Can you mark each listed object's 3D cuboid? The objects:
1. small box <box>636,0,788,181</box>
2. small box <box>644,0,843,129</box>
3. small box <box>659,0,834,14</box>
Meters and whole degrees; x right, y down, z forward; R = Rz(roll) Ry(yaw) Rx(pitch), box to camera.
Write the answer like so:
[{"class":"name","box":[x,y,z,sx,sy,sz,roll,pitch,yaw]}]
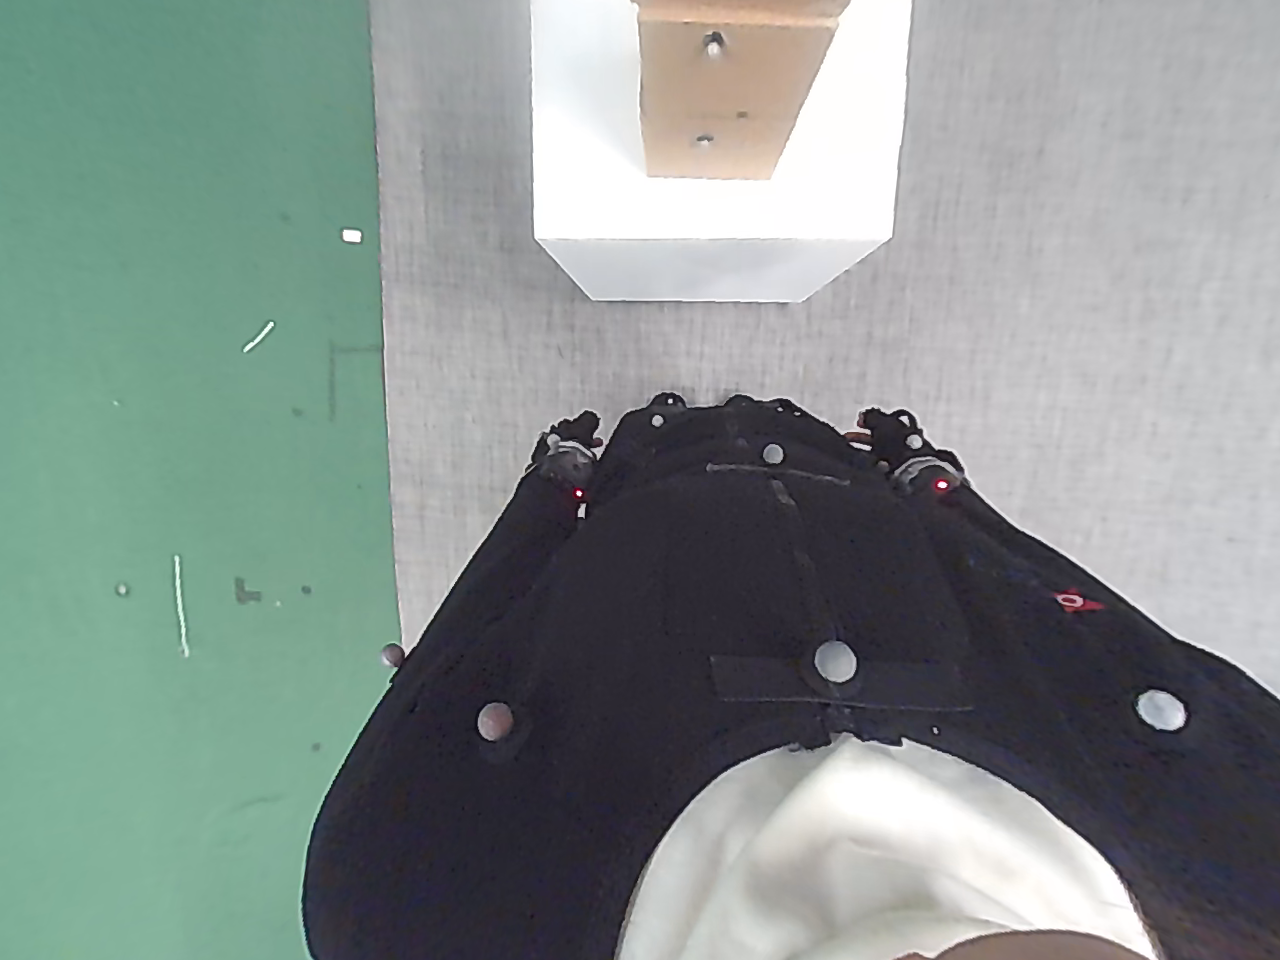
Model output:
[{"class":"small box","box":[0.092,-0.491,0.672,0.179,0.176,0.168,4,99,3]},{"class":"small box","box":[0.090,-0.469,0.512,0.168,0.176,0.179,2,100,2]},{"class":"small box","box":[0.077,-0.448,0.349,0.179,0.176,0.168,5,101,2]}]
